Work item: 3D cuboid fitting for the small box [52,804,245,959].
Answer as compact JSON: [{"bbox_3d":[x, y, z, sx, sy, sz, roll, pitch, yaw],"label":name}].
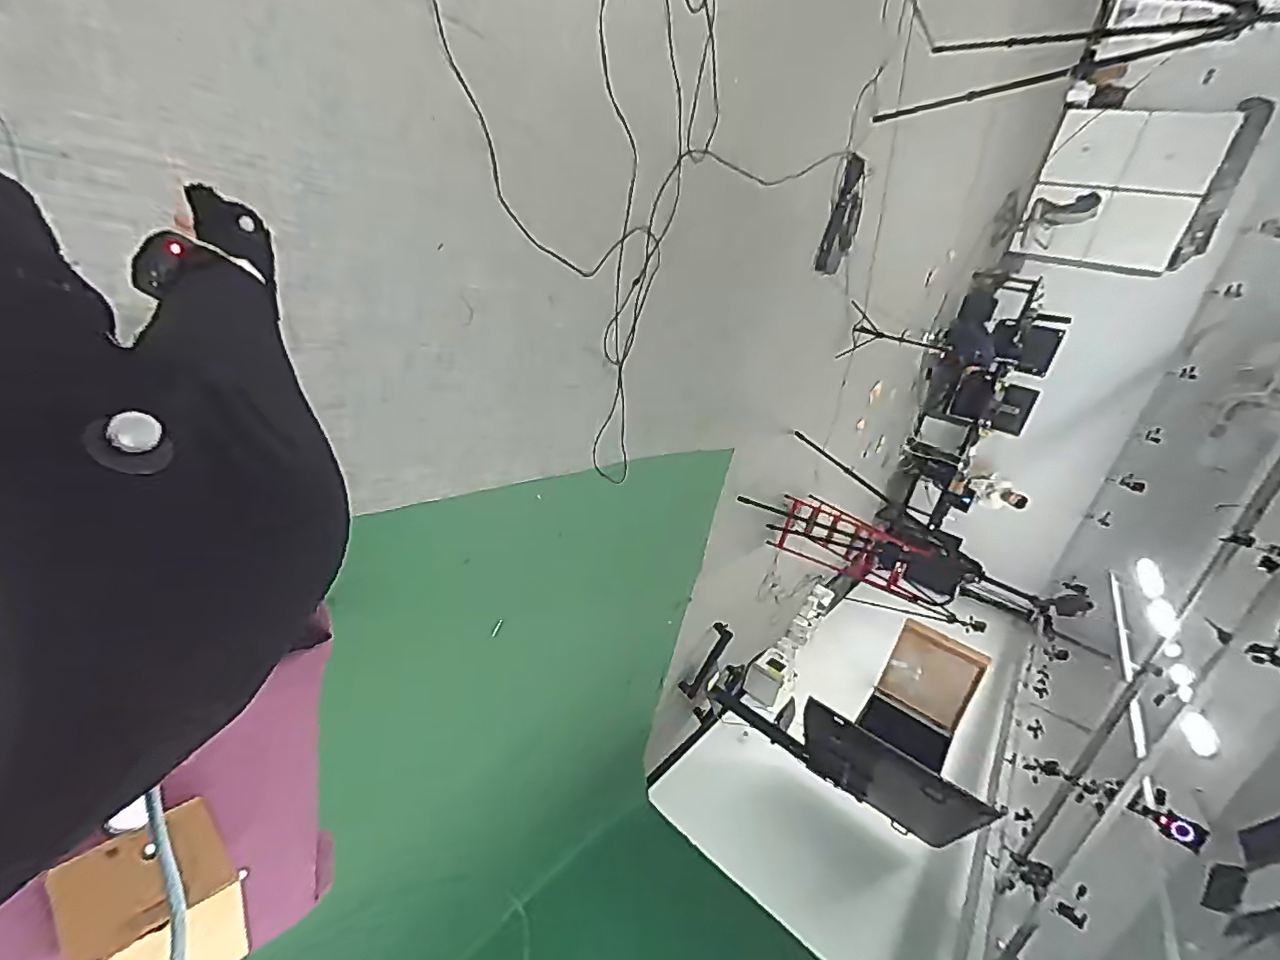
[{"bbox_3d":[-0.683,0.610,0.759,0.168,0.176,0.179,-15,123,-49],"label":"small box"}]
